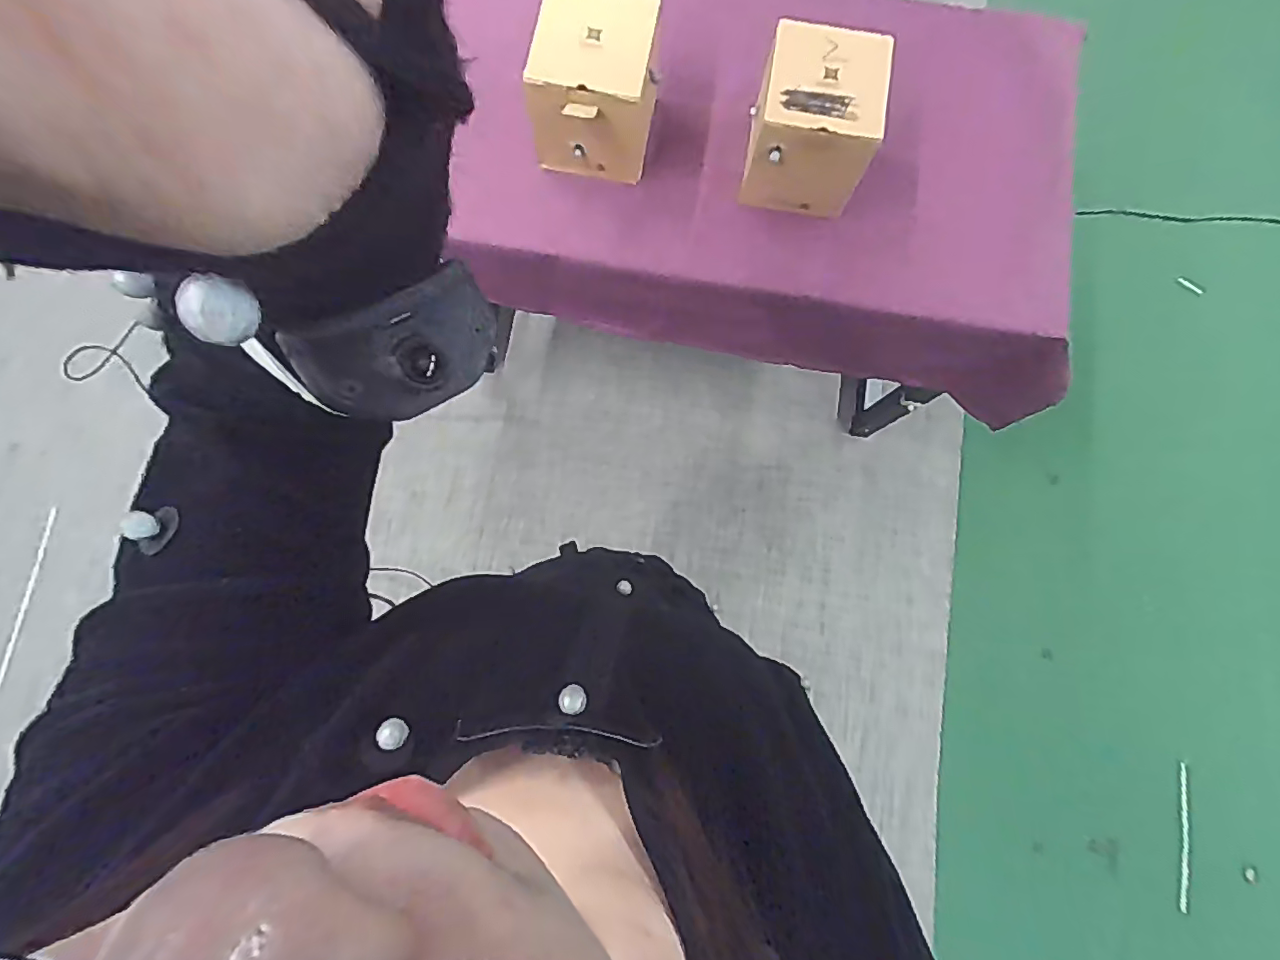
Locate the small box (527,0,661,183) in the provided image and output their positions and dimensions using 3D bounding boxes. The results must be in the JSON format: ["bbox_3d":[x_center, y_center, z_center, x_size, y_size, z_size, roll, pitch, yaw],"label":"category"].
[{"bbox_3d":[-0.067,-0.611,0.847,0.168,0.176,0.179,10,81,0],"label":"small box"}]
